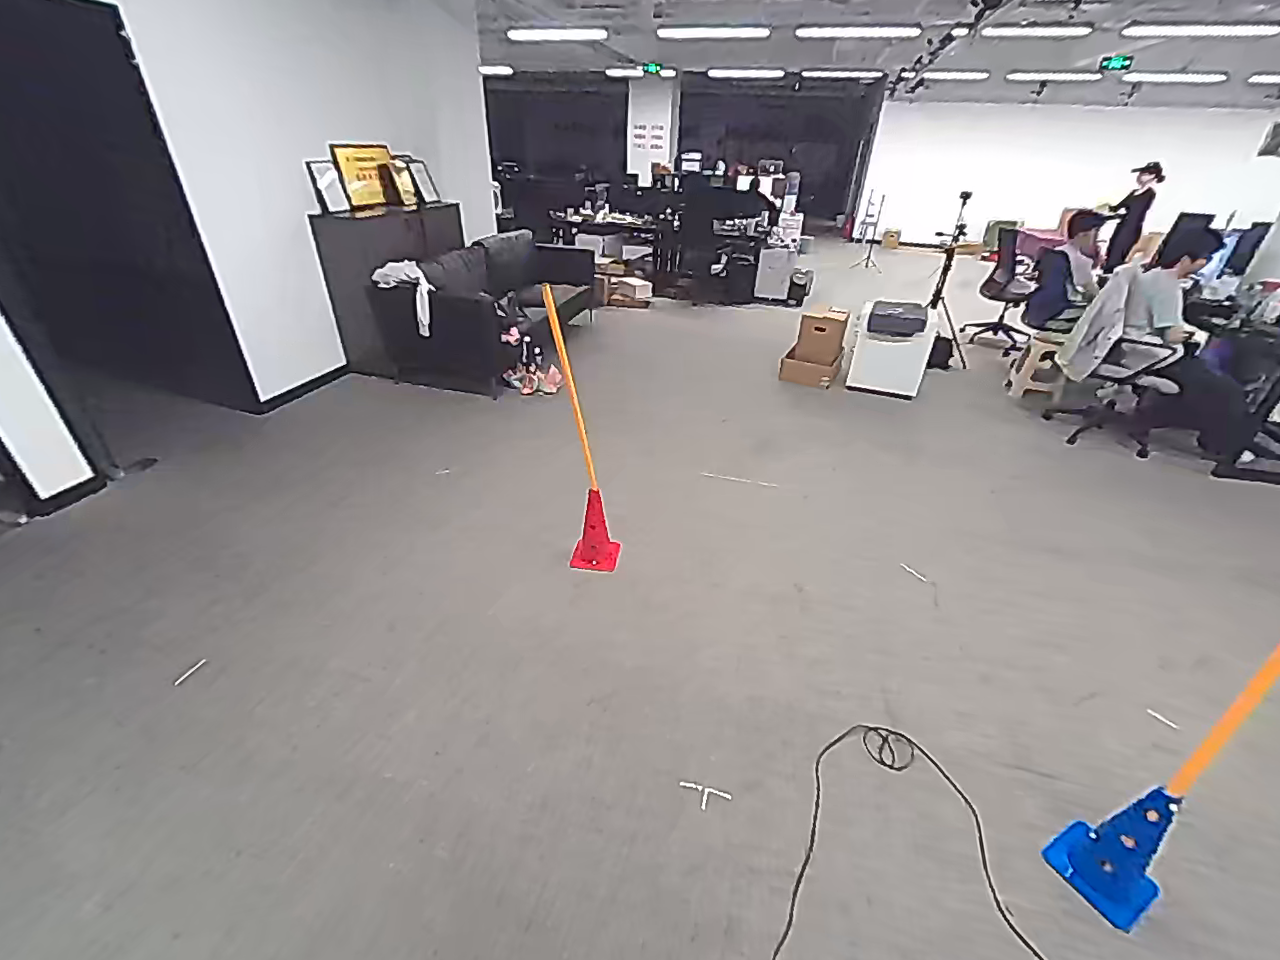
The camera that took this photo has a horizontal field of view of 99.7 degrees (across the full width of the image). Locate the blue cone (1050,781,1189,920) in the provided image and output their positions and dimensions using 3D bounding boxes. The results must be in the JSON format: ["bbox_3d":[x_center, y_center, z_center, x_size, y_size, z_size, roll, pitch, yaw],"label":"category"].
[{"bbox_3d":[1.193,0.849,1.312,0.193,0.380,0.192,-13,34,-28],"label":"blue cone"}]
